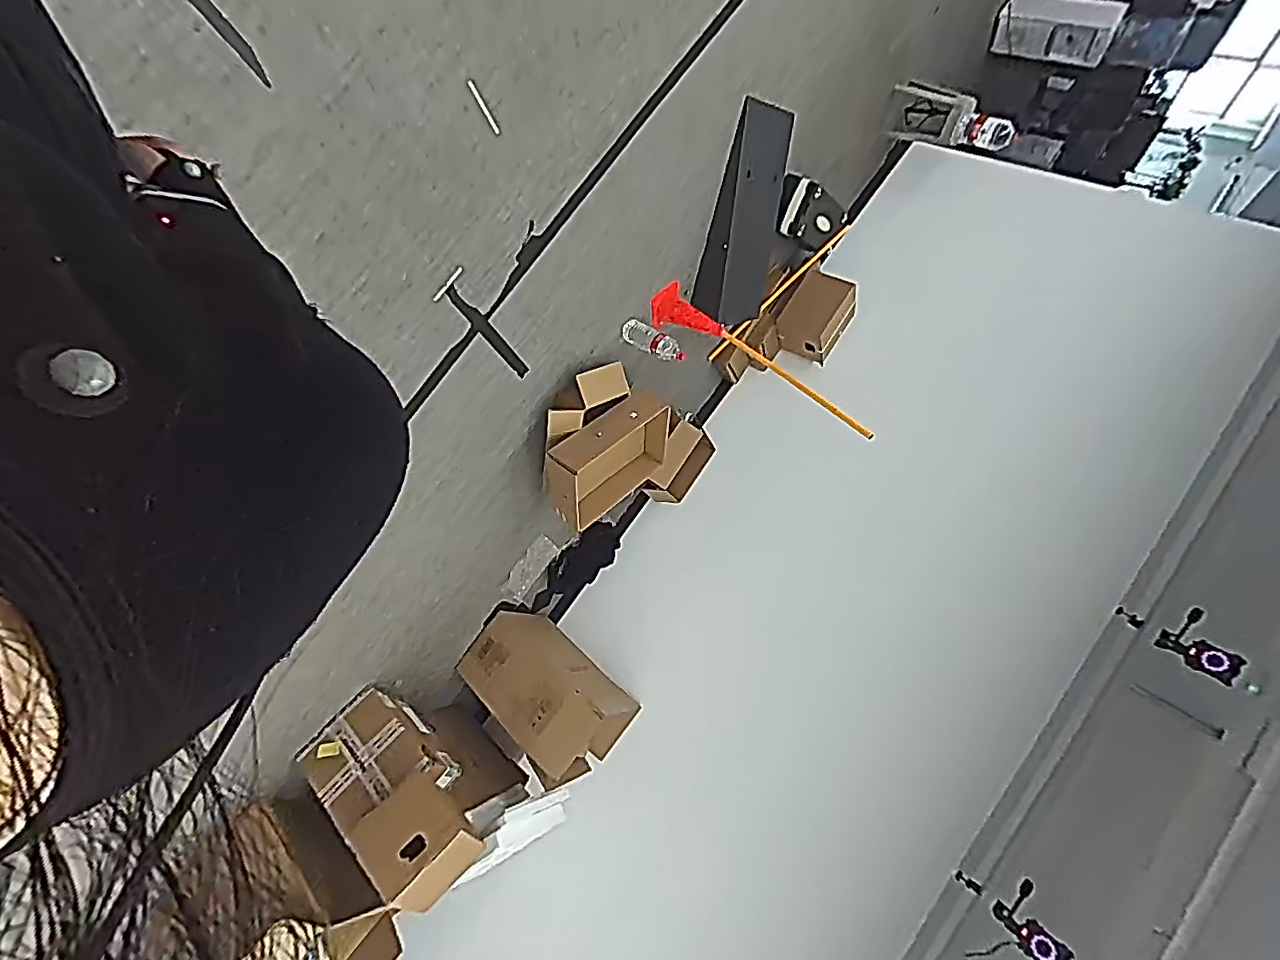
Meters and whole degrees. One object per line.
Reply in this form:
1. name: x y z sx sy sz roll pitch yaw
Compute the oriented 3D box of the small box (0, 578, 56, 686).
1. small box: -1.433 0.338 1.183 0.168 0.176 0.179 -20 138 -50
